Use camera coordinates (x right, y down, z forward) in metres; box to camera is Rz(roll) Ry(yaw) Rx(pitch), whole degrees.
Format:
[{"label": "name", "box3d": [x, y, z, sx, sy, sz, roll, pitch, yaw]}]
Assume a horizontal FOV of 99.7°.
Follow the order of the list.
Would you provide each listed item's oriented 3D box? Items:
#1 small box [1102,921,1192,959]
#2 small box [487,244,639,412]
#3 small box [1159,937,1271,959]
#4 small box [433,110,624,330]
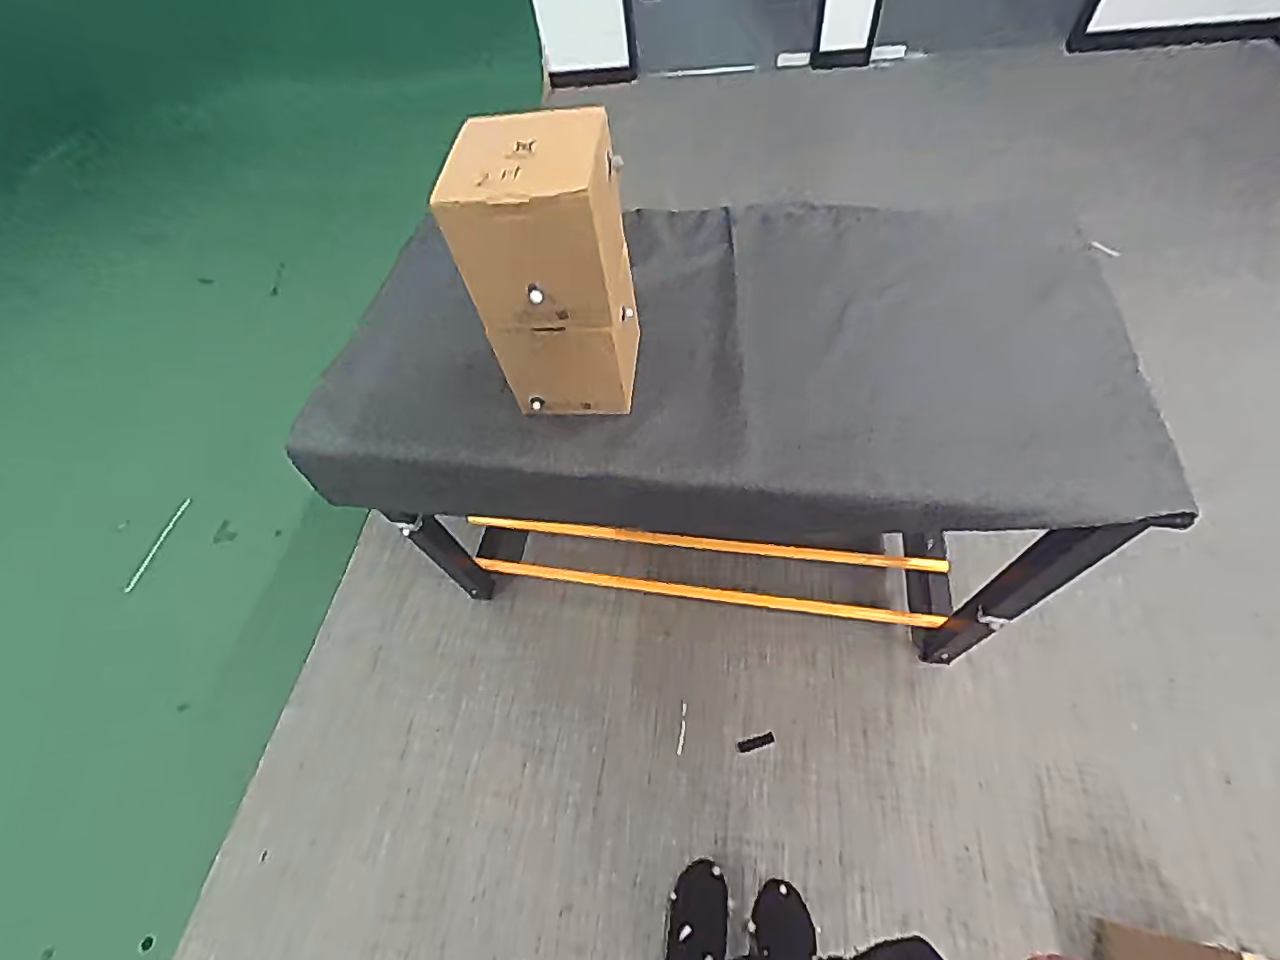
[{"label": "small box", "box3d": [0.879, 0.835, 0.849, 0.168, 0.176, 0.179, 7, 60, 12]}, {"label": "small box", "box3d": [-0.096, -0.213, 0.781, 0.168, 0.176, 0.179, 2, 57, 8]}, {"label": "small box", "box3d": [0.856, 0.746, 0.714, 0.168, 0.176, 0.179, 6, 58, 10]}, {"label": "small box", "box3d": [-0.114, -0.302, 0.644, 0.168, 0.176, 0.179, -1, 58, 8]}]
